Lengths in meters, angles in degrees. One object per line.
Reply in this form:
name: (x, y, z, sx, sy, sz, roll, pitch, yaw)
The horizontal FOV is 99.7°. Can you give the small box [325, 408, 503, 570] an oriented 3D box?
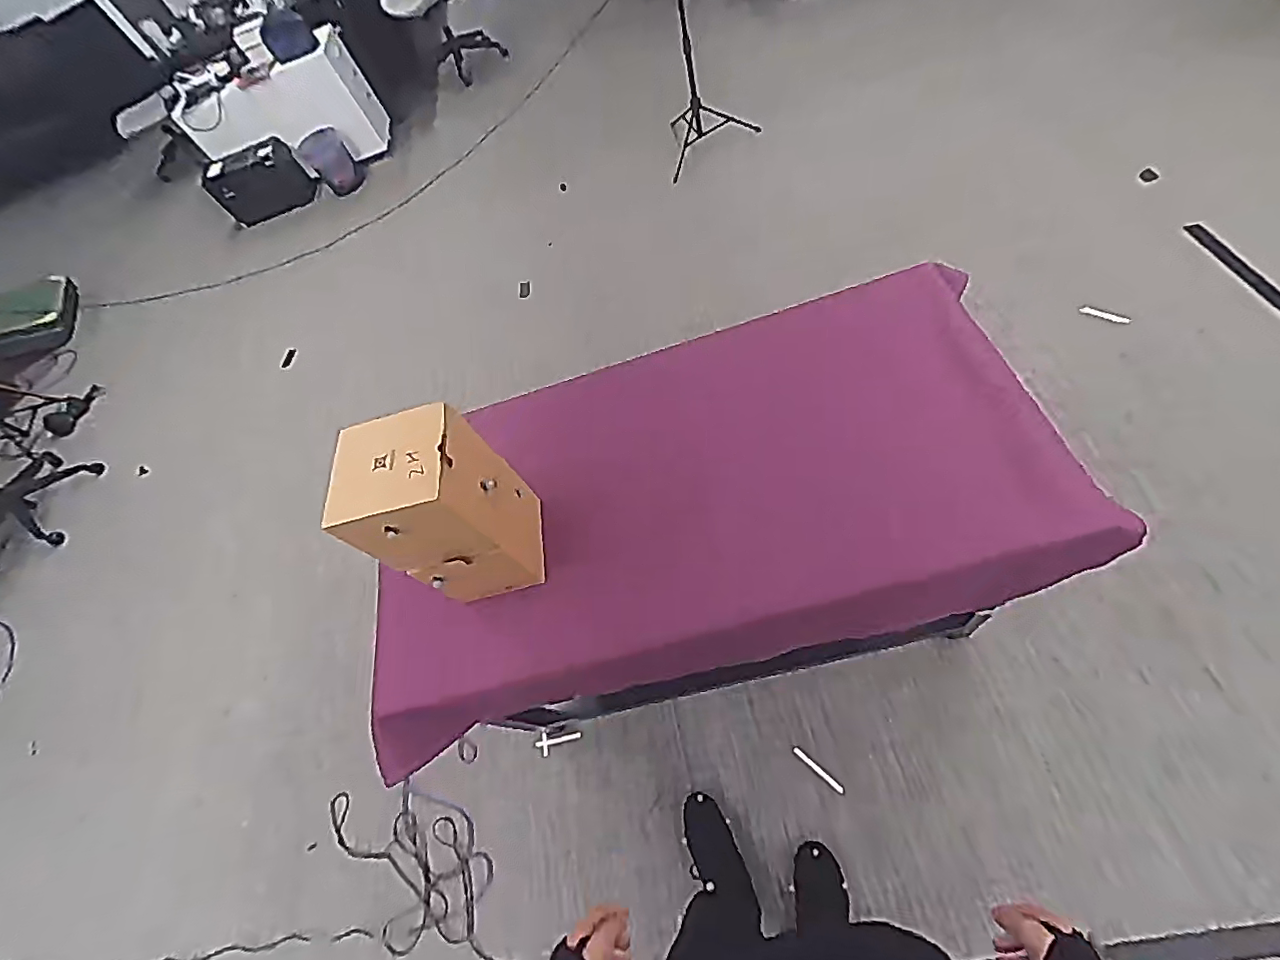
small box: (-0.327, 0.022, 0.814, 0.179, 0.176, 0.168, -14, 59, 8)
